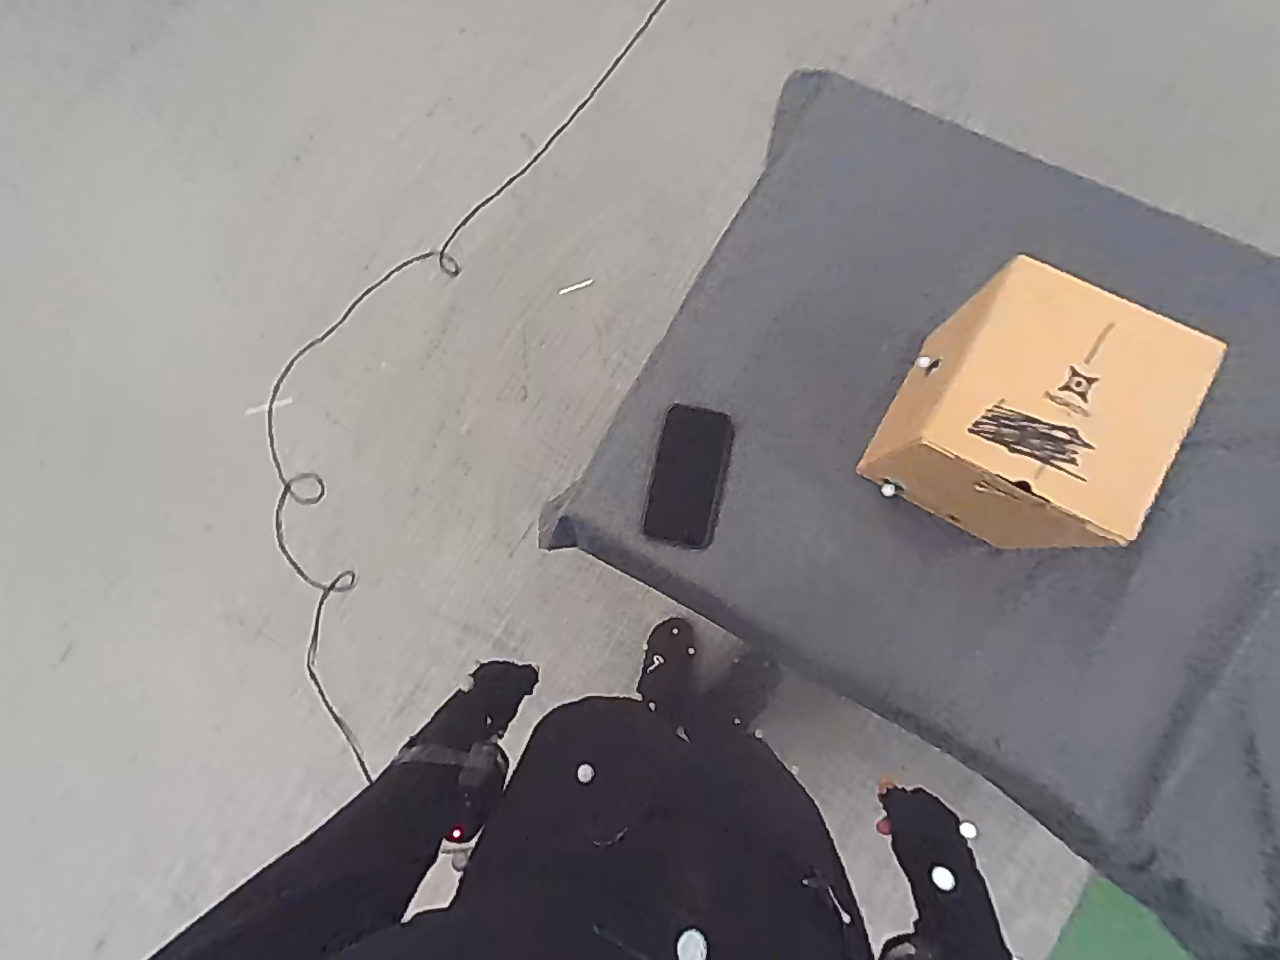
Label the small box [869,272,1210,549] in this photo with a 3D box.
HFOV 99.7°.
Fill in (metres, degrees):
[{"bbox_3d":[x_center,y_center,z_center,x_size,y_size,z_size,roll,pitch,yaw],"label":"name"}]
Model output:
[{"bbox_3d":[0.340,-0.047,0.504,0.168,0.176,0.179,29,84,8],"label":"small box"}]
